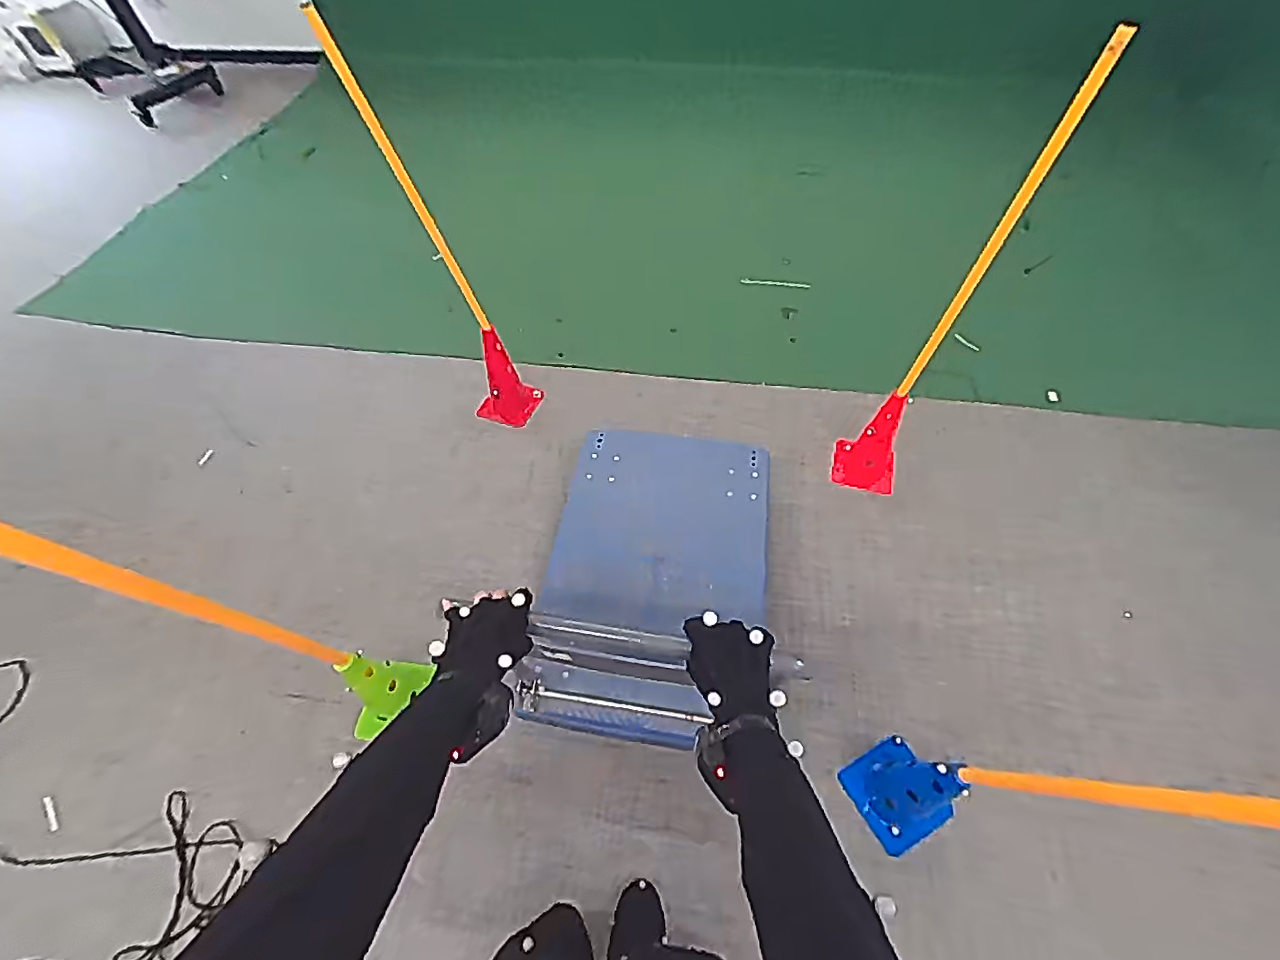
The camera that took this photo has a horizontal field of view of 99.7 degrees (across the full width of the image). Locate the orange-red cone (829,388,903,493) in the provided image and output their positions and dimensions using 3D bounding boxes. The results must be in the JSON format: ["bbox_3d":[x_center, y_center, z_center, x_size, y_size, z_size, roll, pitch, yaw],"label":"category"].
[{"bbox_3d":[0.751,-0.151,1.706,0.198,0.360,0.199,15,57,13],"label":"orange-red cone"}]
